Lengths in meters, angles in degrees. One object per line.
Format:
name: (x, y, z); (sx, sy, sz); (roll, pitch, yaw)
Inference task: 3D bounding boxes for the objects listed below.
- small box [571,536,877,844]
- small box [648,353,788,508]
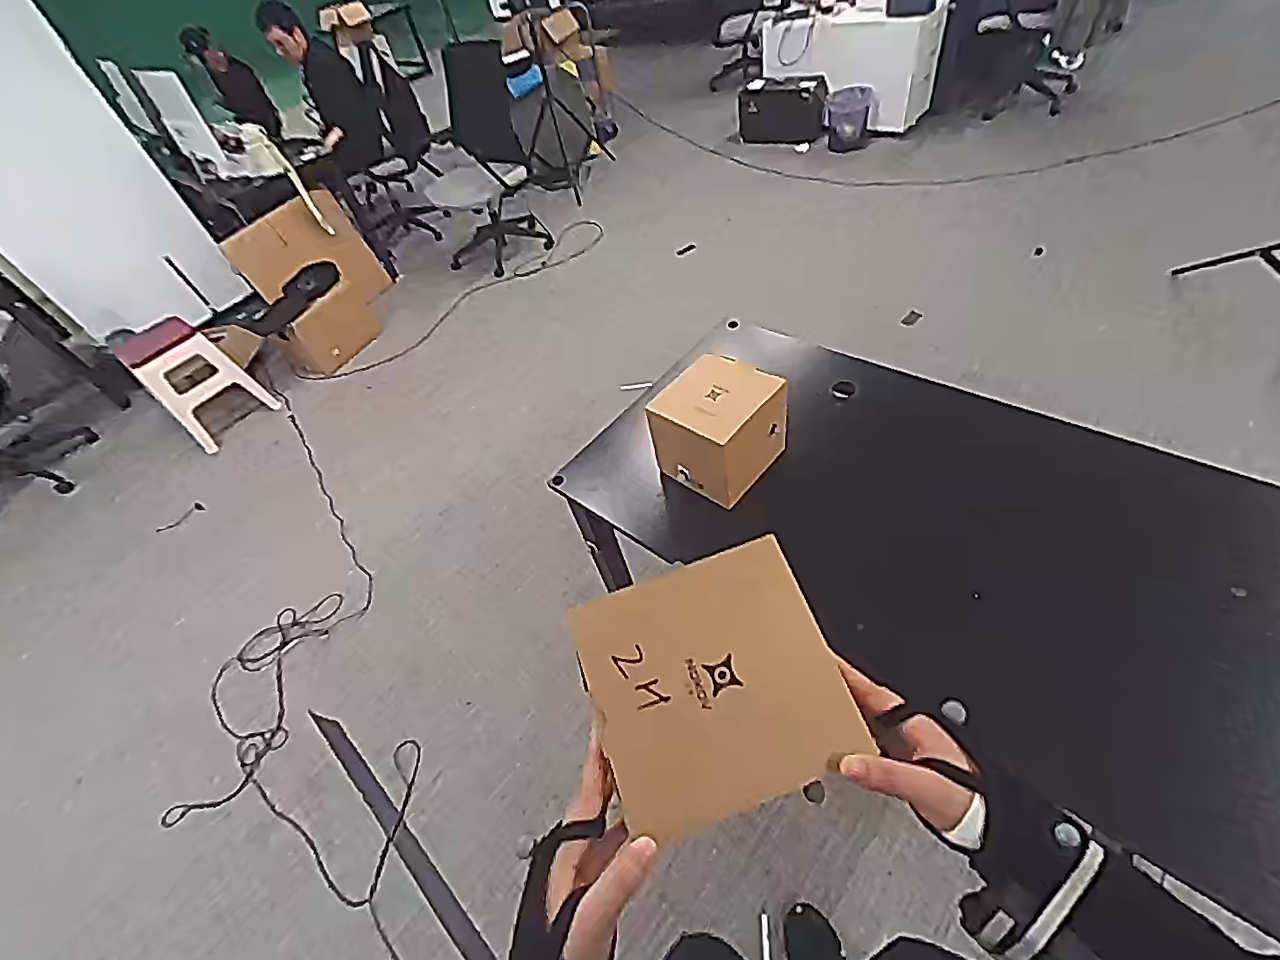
small box: (0.058, 0.170, 0.458); (0.179, 0.176, 0.168); (-20, 66, -3)
small box: (0.139, -0.086, 0.943); (0.168, 0.176, 0.179); (29, 63, 33)
